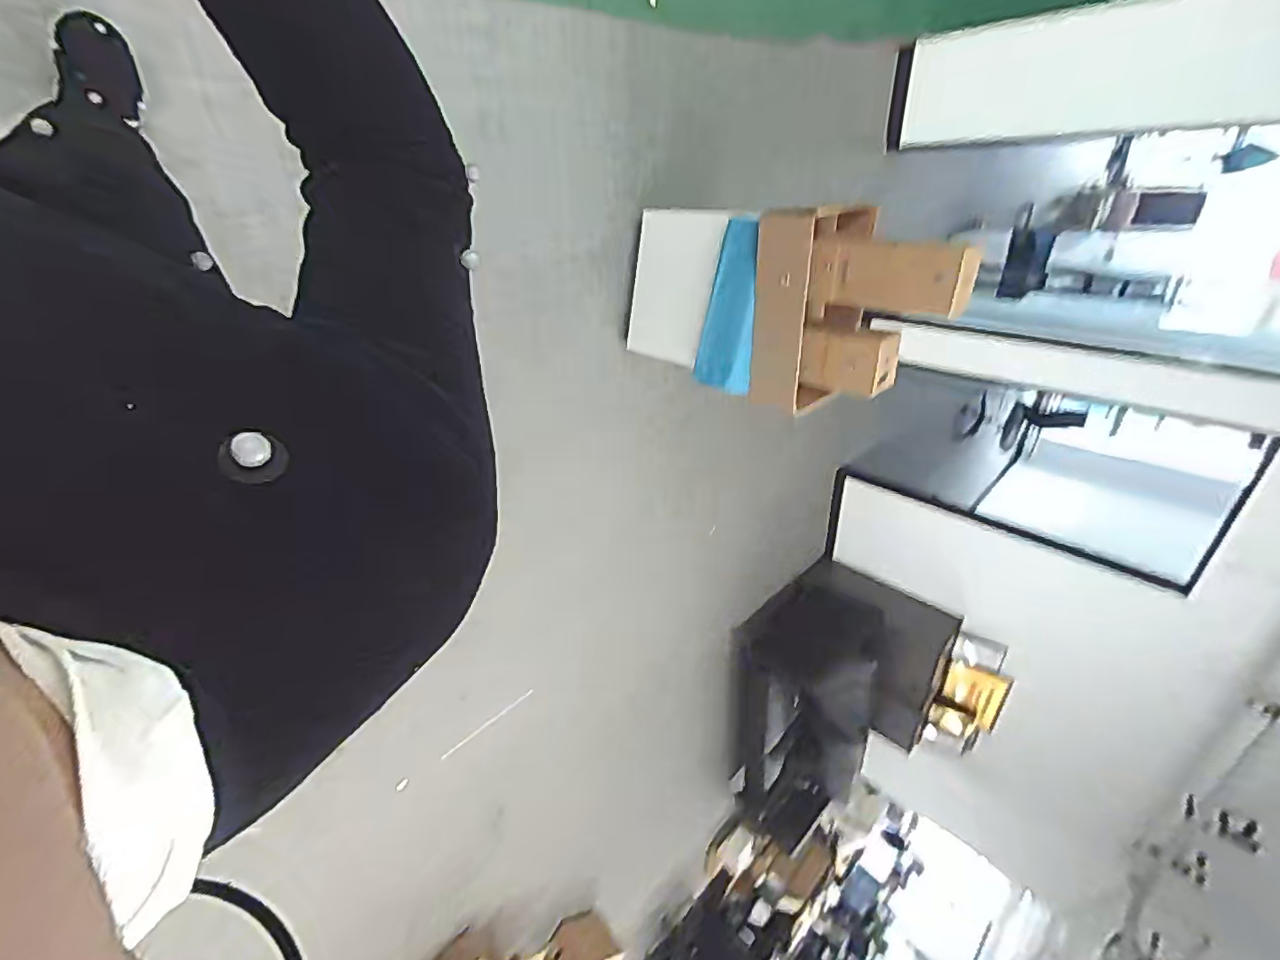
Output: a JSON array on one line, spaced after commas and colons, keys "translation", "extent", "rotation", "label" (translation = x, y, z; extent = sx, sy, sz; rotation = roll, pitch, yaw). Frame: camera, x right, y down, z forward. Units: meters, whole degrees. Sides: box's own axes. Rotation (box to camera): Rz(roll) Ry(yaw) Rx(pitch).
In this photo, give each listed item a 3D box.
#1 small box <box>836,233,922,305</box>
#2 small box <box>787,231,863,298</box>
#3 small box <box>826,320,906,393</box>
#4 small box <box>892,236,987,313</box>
[{"translation": [0.703, -0.627, 1.589], "extent": [0.179, 0.176, 0.168], "rotation": [-29, 130, -36], "label": "small box"}, {"translation": [0.583, -0.679, 1.687], "extent": [0.179, 0.176, 0.168], "rotation": [-29, 130, -37], "label": "small box"}, {"translation": [0.712, -0.396, 1.719], "extent": [0.168, 0.176, 0.179], "rotation": [-29, 128, -37], "label": "small box"}, {"translation": [0.816, -0.570, 1.485], "extent": [0.168, 0.176, 0.179], "rotation": [-28, 129, -37], "label": "small box"}]
